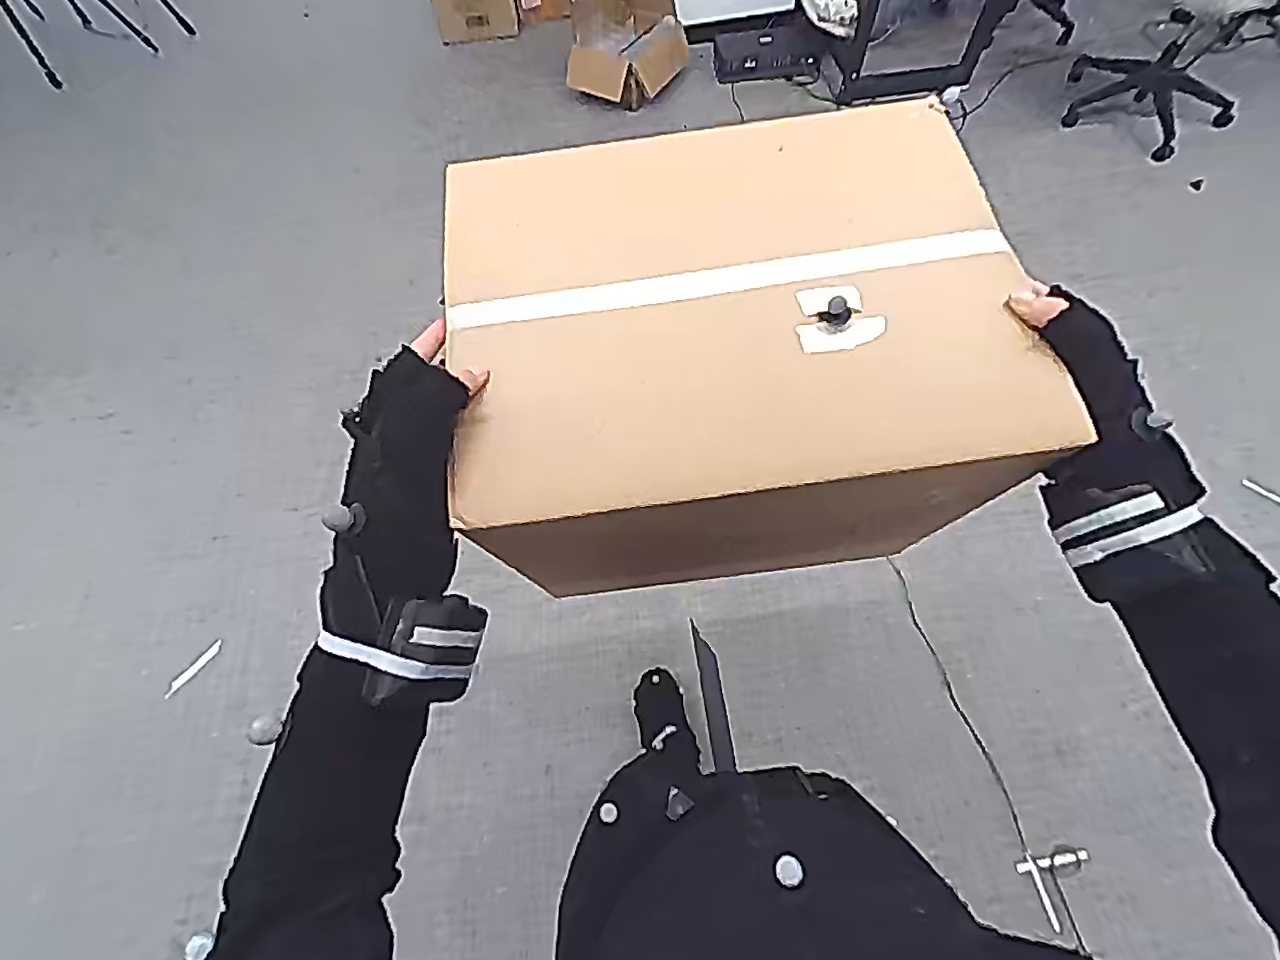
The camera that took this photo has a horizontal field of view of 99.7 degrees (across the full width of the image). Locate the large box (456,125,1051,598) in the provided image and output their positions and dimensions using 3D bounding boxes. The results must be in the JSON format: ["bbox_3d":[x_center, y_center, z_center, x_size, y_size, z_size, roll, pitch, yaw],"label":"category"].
[{"bbox_3d":[0.064,-0.084,0.549,0.408,0.320,0.320,-8,69,0],"label":"large box"}]
